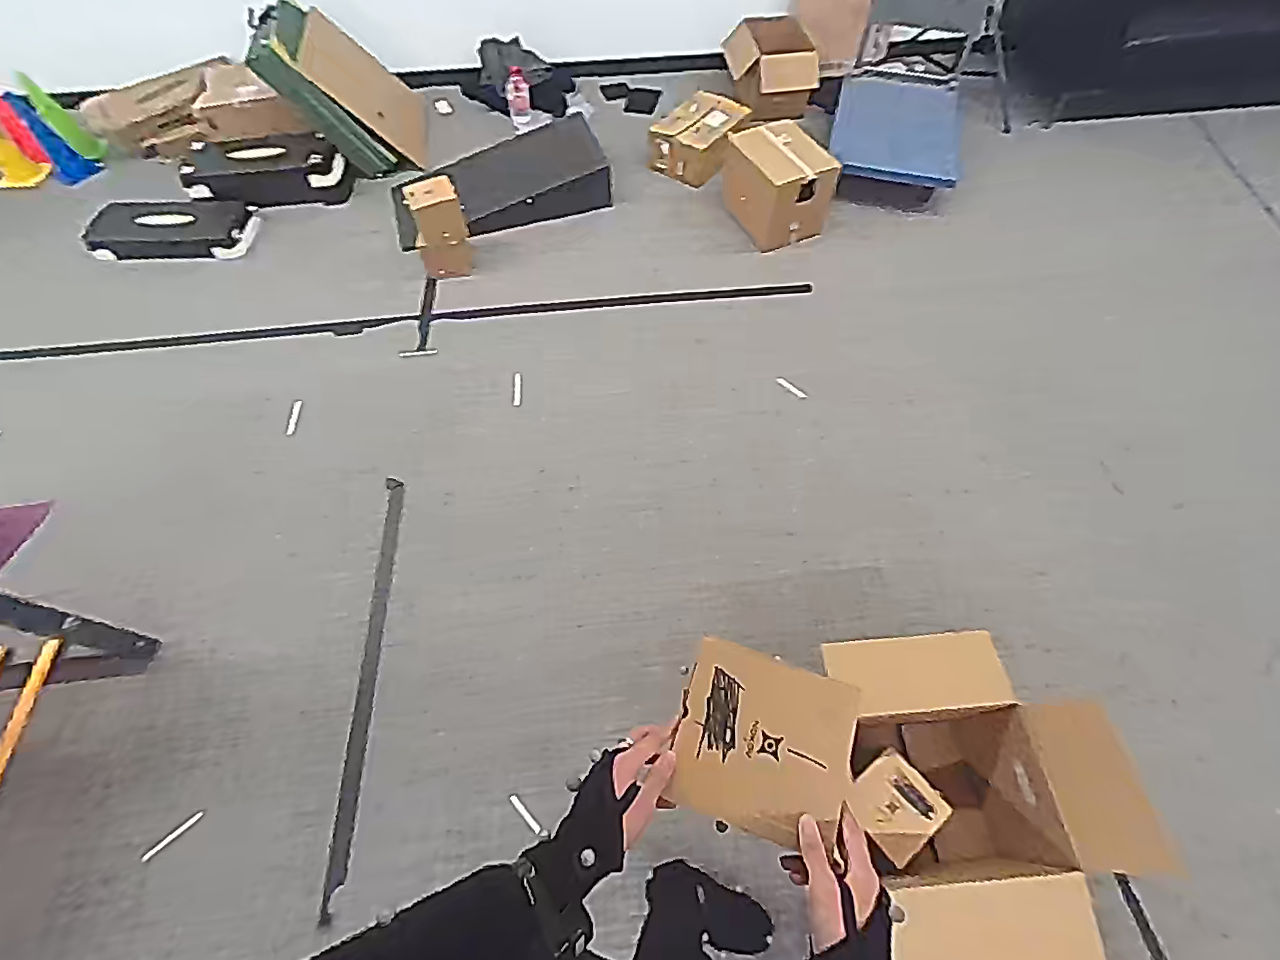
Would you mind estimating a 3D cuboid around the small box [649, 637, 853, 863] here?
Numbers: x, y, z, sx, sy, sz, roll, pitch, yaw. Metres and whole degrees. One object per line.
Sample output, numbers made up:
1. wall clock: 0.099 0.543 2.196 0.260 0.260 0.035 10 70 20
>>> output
1. small box: 0.118 0.299 0.621 0.179 0.176 0.168 17 68 9
